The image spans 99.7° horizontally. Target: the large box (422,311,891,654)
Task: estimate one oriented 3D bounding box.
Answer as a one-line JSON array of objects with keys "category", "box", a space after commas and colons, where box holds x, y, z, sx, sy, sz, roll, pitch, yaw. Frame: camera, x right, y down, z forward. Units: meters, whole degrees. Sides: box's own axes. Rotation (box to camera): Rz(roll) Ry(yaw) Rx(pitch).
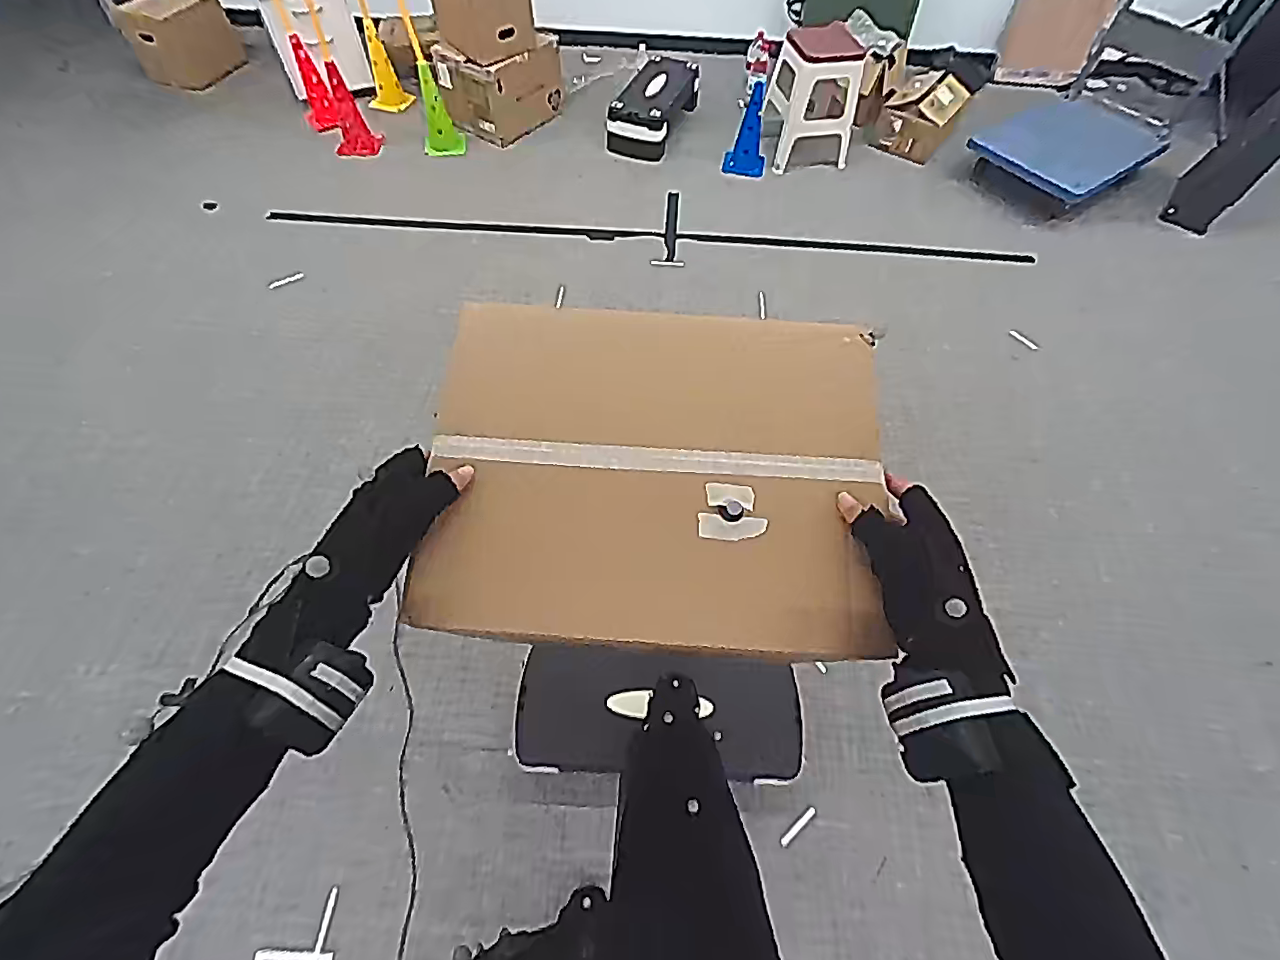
[{"category": "large box", "box": [0.017, 0.031, 0.640, 0.408, 0.320, 0.320, 4, 71, 0]}]
